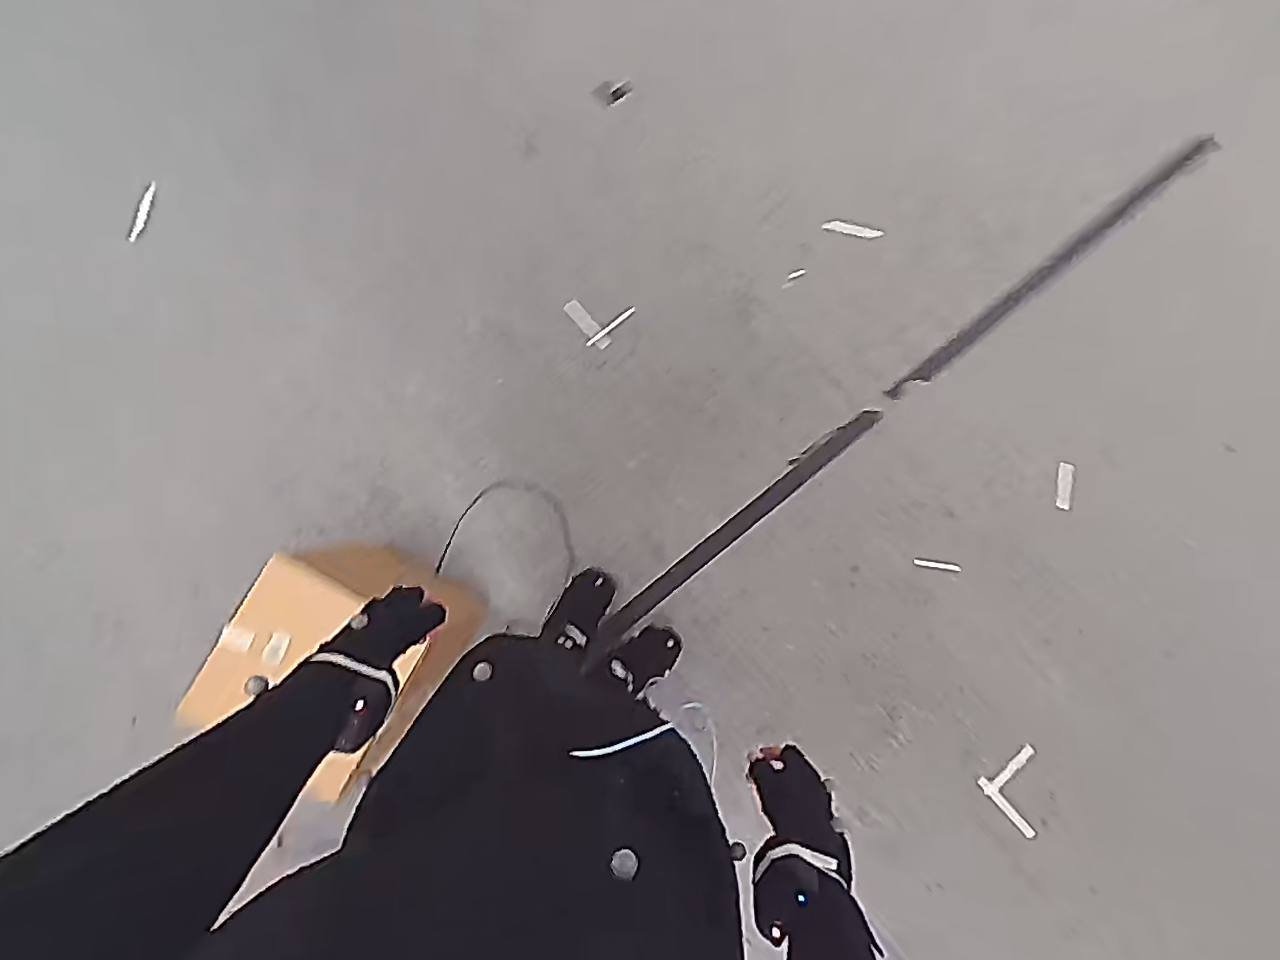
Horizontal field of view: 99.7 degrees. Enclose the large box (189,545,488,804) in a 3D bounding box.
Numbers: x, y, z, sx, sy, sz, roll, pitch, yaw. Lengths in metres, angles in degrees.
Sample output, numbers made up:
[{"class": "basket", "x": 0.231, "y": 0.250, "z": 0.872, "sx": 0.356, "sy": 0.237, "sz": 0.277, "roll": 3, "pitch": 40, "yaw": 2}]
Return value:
[{"class": "large box", "x": -0.566, "y": 0.350, "z": 1.106, "sx": 0.320, "sy": 0.408, "sz": 0.320, "roll": 31, "pitch": 86, "yaw": 0}]
